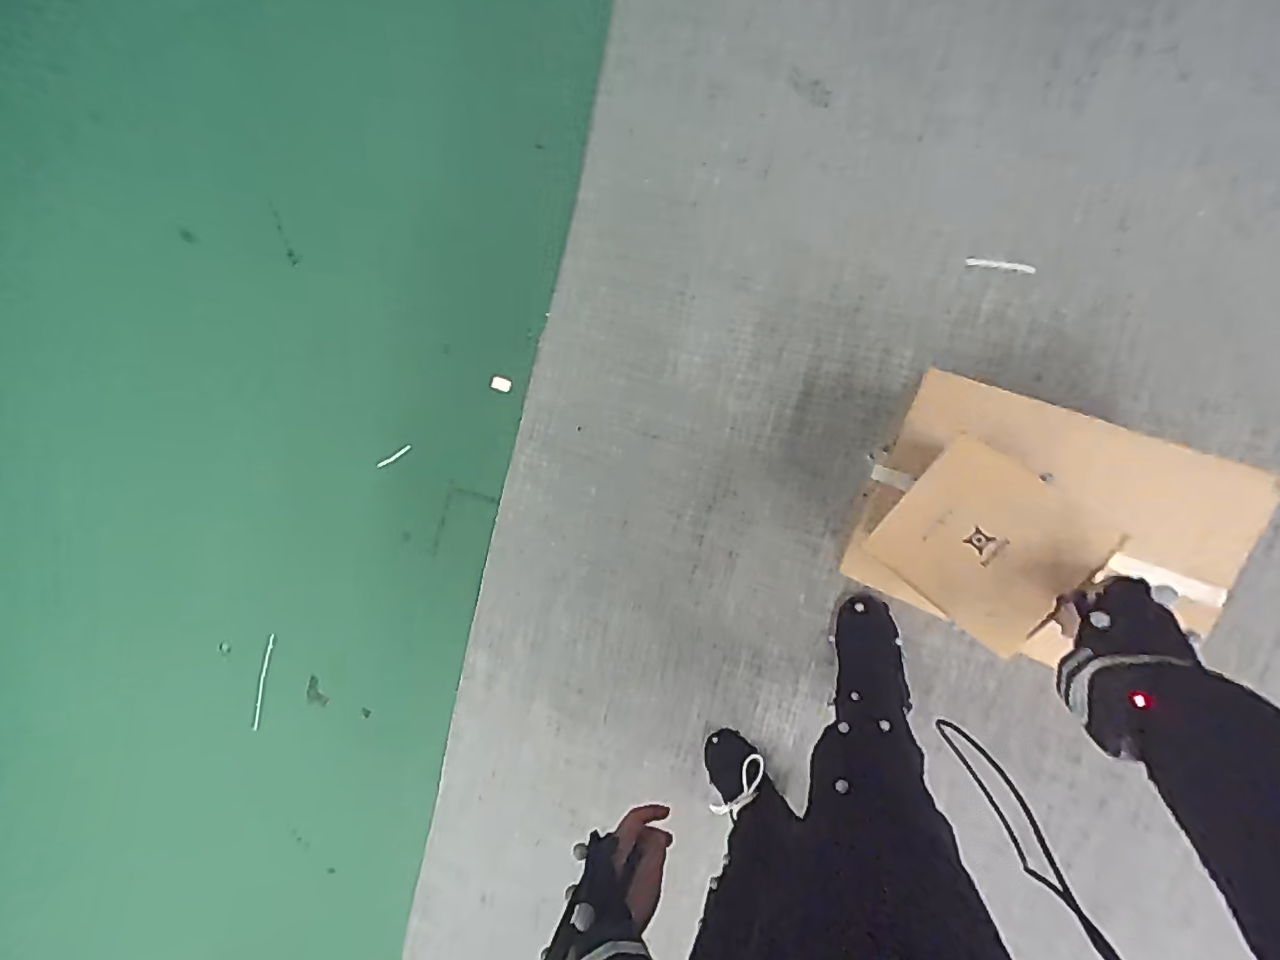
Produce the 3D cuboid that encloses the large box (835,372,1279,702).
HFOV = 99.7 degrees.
[{"bbox_3d":[0.559,0.060,0.841,0.408,0.320,0.320,23,99,16],"label":"large box"}]

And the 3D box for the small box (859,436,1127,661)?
[{"bbox_3d":[0.389,0.074,0.624,0.179,0.176,0.168,44,104,27],"label":"small box"}]
